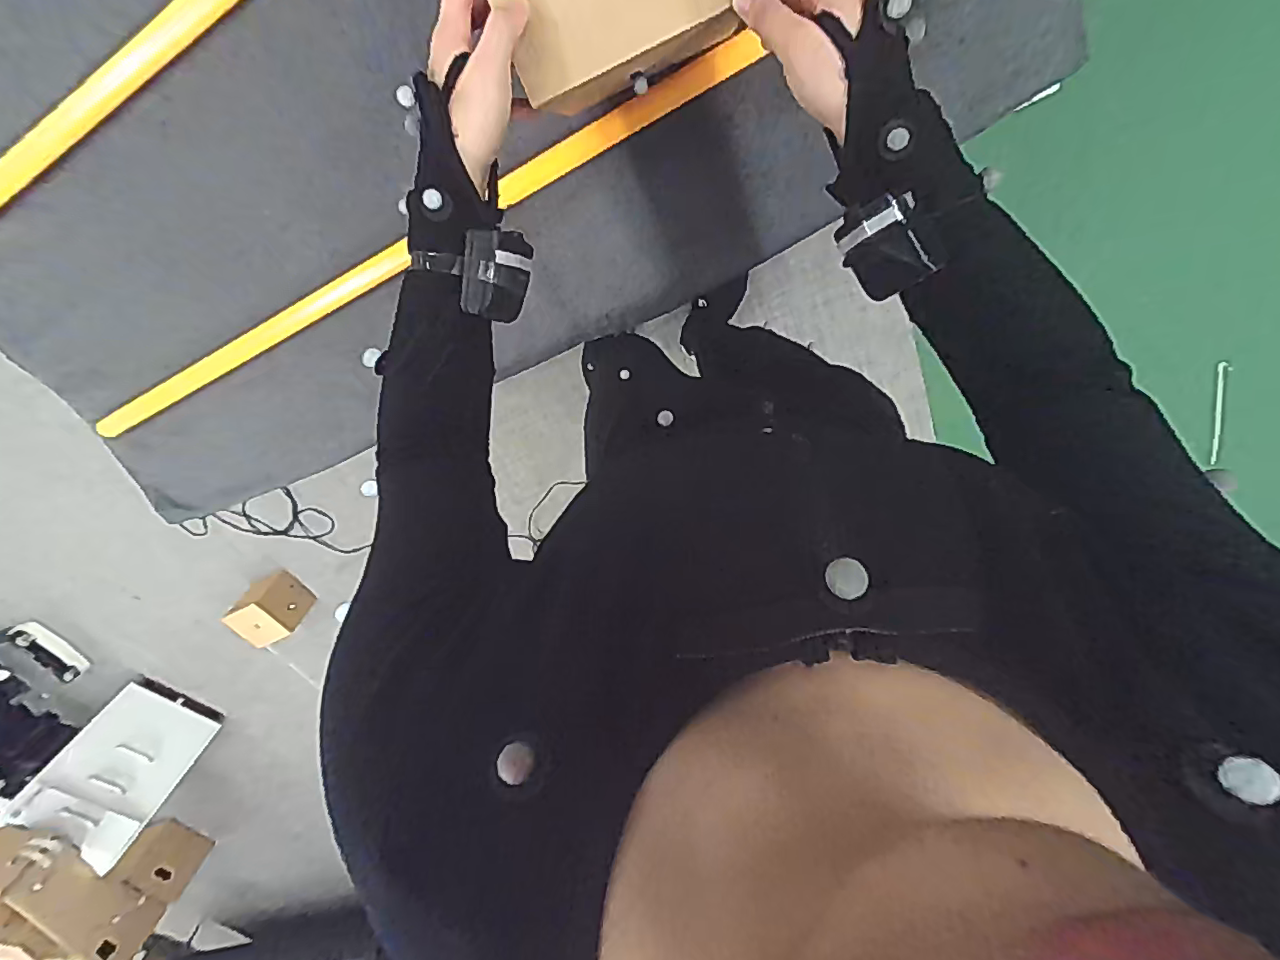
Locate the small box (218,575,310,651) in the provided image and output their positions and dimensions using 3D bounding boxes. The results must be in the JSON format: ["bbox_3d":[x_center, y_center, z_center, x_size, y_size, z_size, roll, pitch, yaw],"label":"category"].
[{"bbox_3d":[-1.302,0.462,1.893,0.179,0.176,0.168,-24,118,18],"label":"small box"}]
